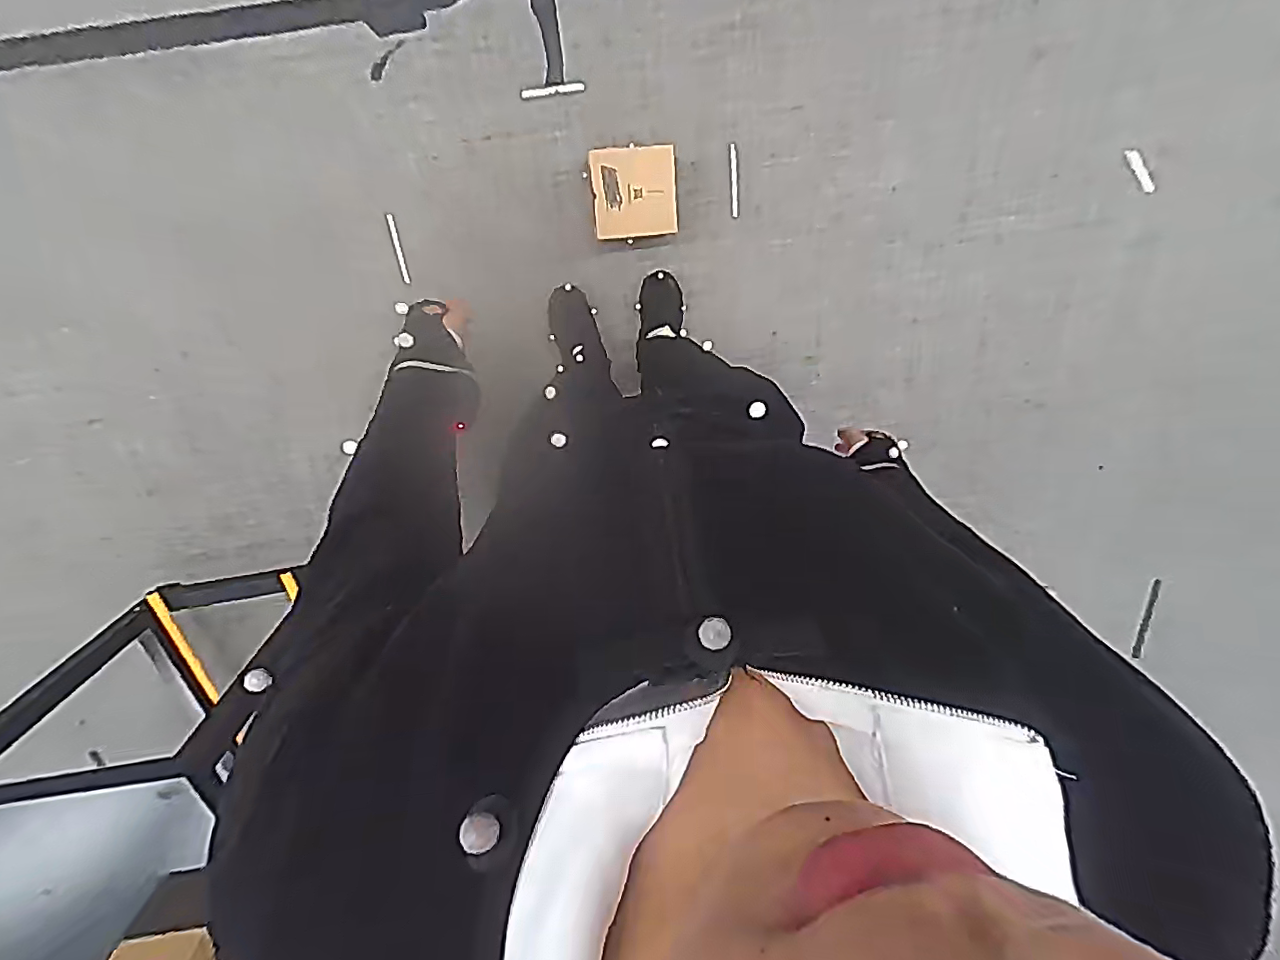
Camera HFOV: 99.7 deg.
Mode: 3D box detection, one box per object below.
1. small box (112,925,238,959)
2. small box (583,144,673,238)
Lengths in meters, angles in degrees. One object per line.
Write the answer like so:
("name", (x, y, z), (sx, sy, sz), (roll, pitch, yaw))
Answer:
("small box", (-0.939, 1.012, 1.048), (0.179, 0.176, 0.168), (-10, 116, -2))
("small box", (-0.029, -0.626, 1.185), (0.179, 0.176, 0.168), (-6, 115, -4))
